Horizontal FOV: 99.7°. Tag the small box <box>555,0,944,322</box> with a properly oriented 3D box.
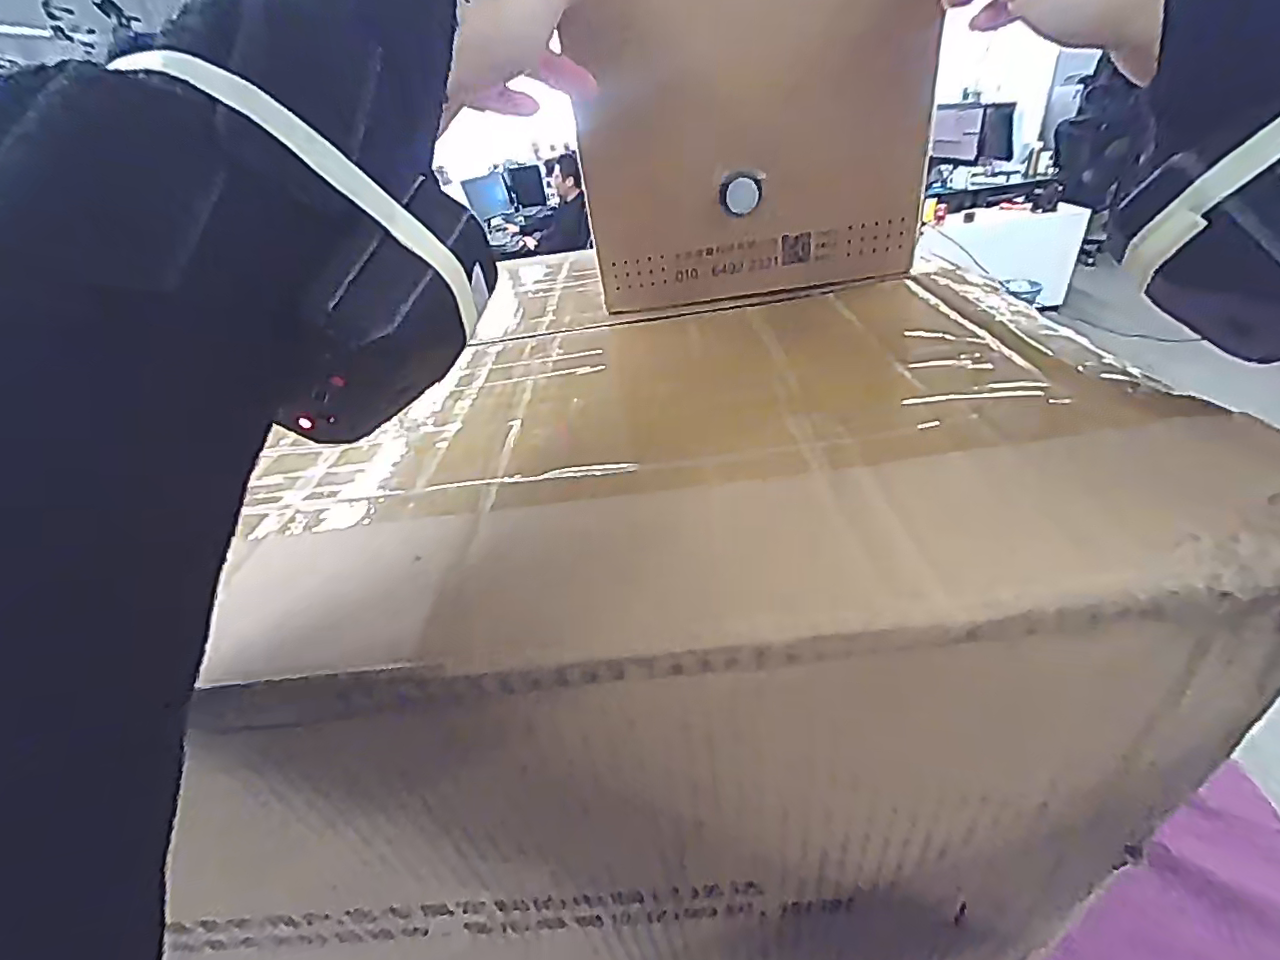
[{"bbox_3d":[0.054,-0.207,0.321,0.168,0.176,0.179,-6,35,7],"label":"small box"}]
